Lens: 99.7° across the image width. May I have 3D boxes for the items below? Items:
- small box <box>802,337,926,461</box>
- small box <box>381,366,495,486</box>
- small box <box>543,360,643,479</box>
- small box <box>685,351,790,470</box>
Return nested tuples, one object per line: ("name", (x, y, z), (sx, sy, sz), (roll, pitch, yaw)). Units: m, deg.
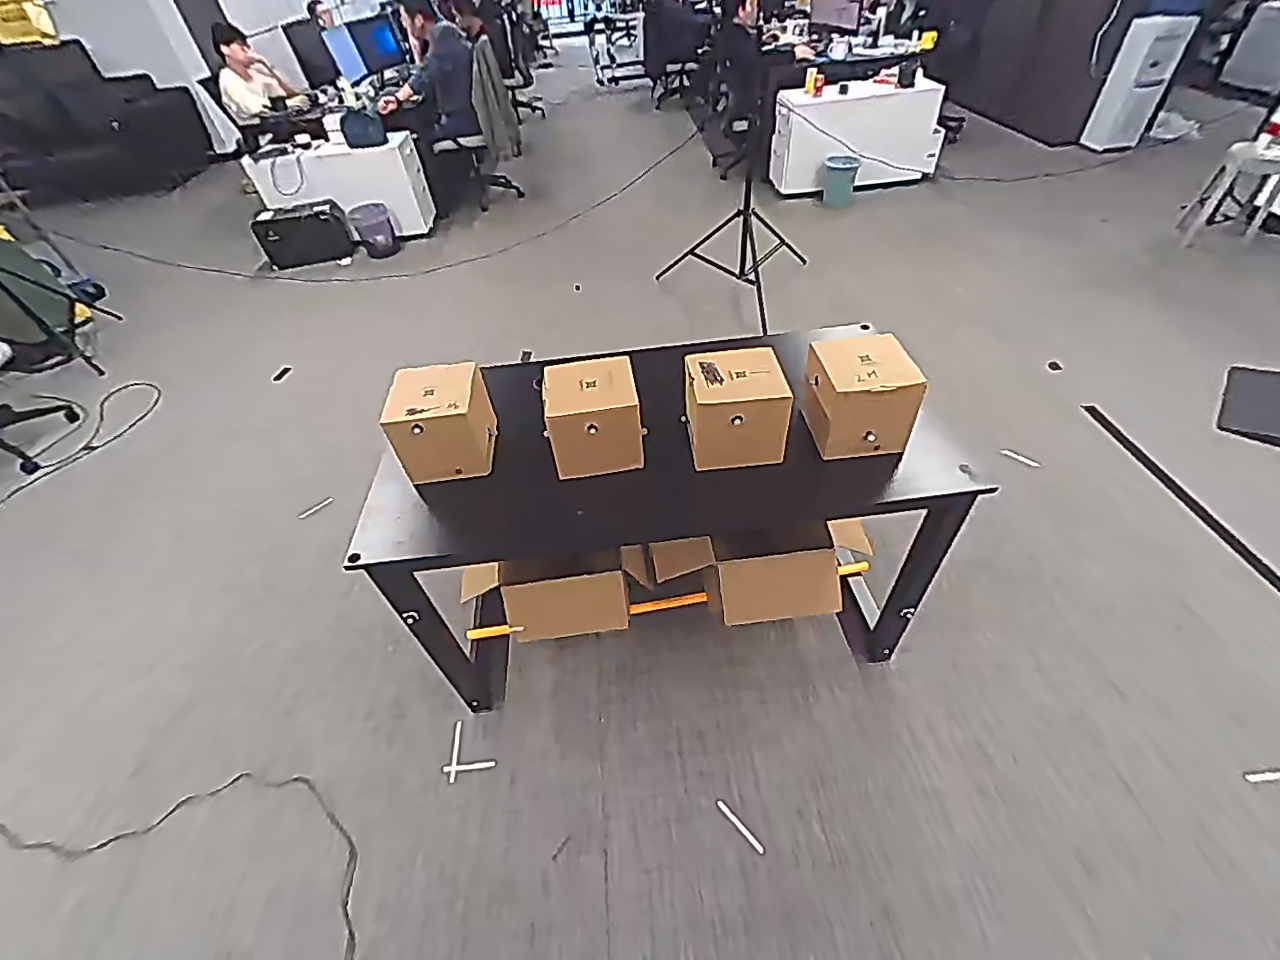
("small box", (0.430, -0.161, 1.075), (0.168, 0.176, 0.179), (-7, 45, 2))
("small box", (-0.403, -0.112, 1.116), (0.168, 0.176, 0.179), (-7, 45, -2))
("small box", (-0.093, -0.119, 1.094), (0.179, 0.176, 0.168), (-8, 46, -3))
("small box", (0.186, -0.135, 1.076), (0.179, 0.176, 0.168), (-5, 45, 1))
